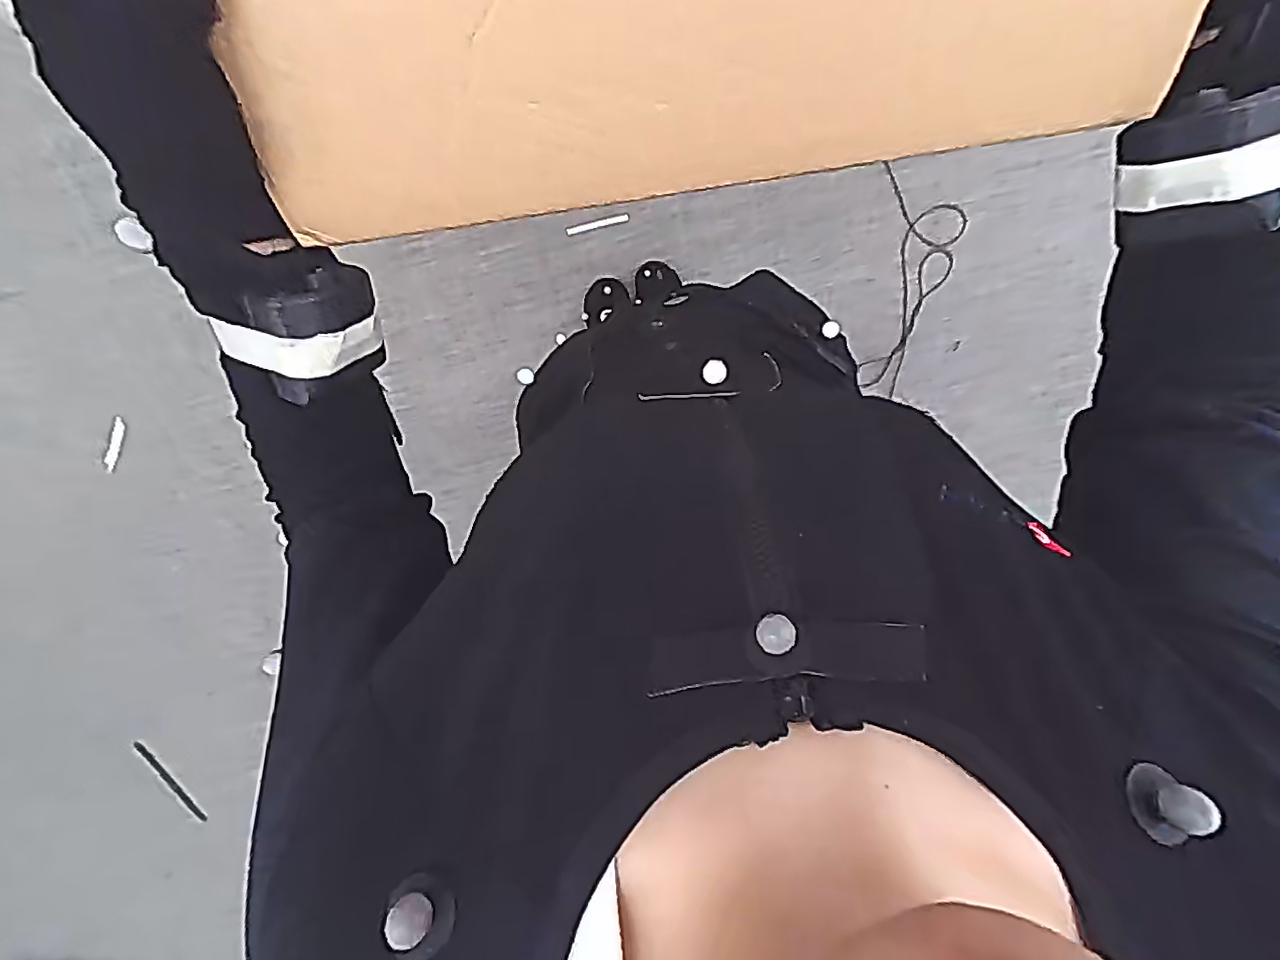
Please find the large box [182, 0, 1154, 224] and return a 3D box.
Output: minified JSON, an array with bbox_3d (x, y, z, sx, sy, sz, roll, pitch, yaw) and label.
[{"bbox_3d":[0.002,-0.366,0.260,0.408,0.320,0.320,-8,134,1],"label":"large box"}]
